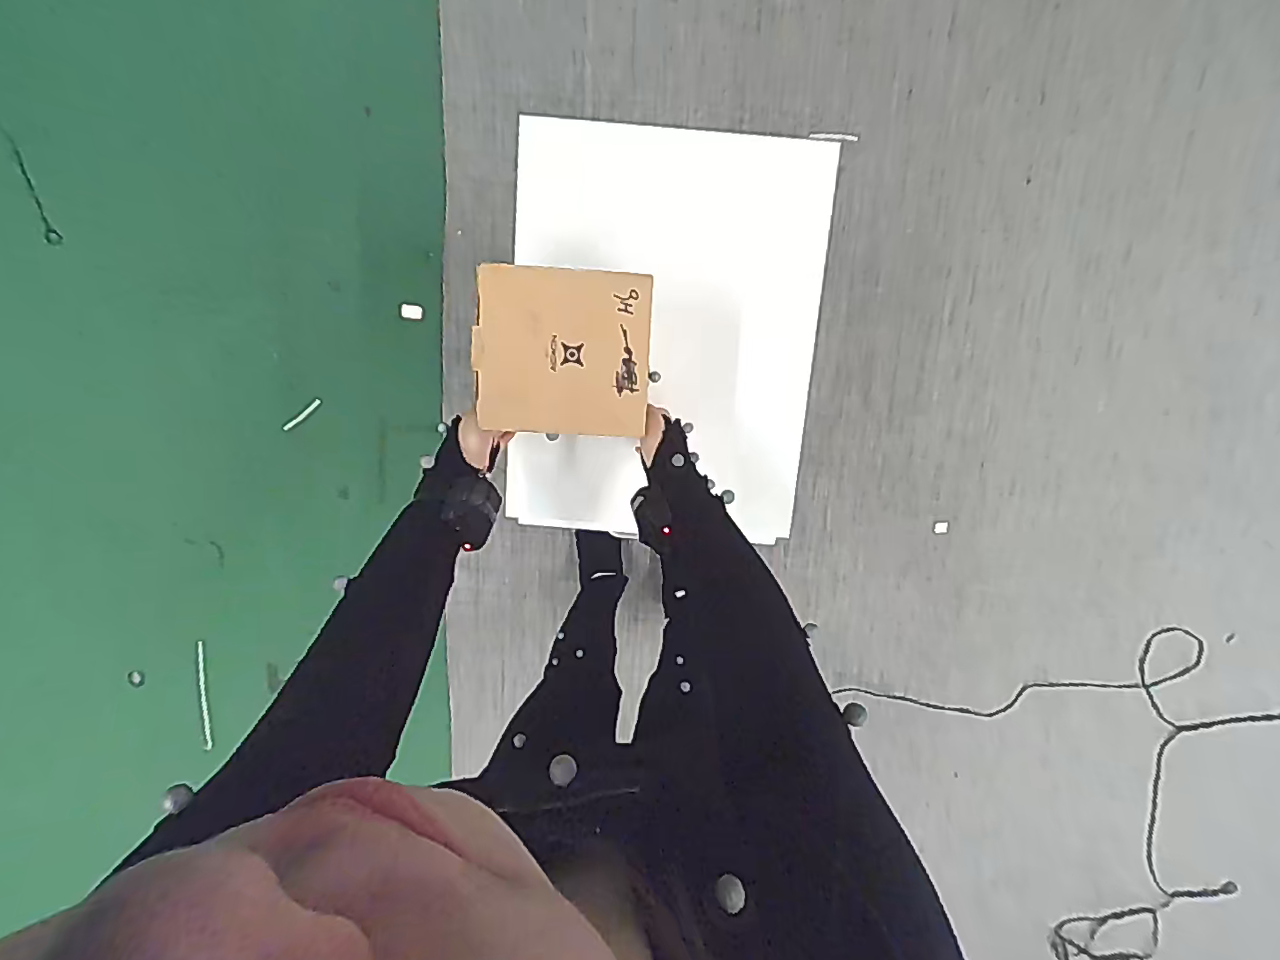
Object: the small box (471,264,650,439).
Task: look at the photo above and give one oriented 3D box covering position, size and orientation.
[{"bbox_3d":[-0.085,-0.139,0.626,0.179,0.176,0.168,3,99,-4],"label":"small box"}]
